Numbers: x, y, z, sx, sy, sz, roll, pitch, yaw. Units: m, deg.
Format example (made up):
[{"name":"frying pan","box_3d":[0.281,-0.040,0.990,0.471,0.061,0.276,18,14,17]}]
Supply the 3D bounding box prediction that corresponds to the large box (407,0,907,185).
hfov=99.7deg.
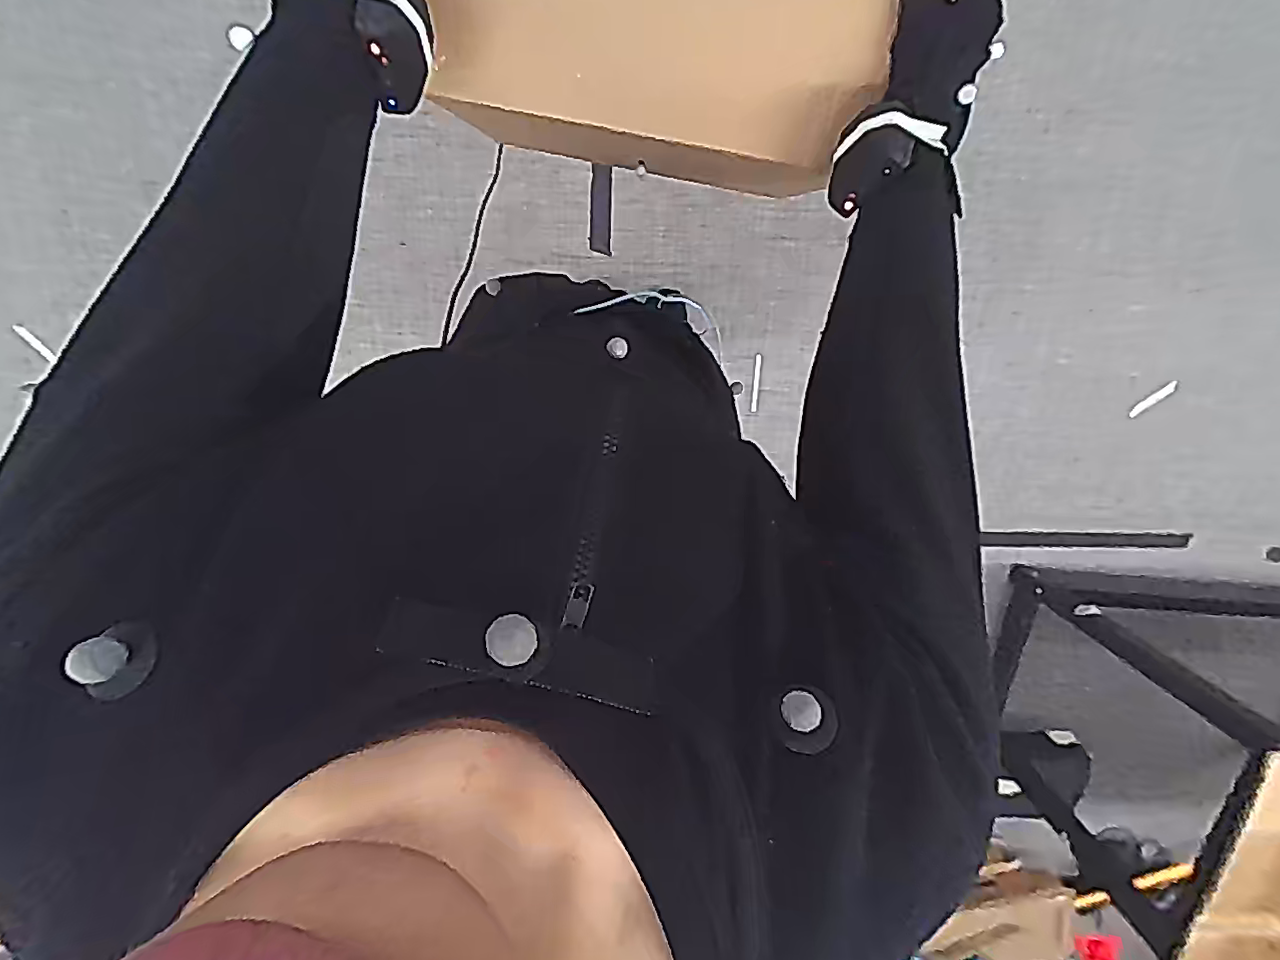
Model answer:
[{"name":"large box","box_3d":[0.027,-0.506,0.540,0.408,0.320,0.320,9,113,-3]}]
